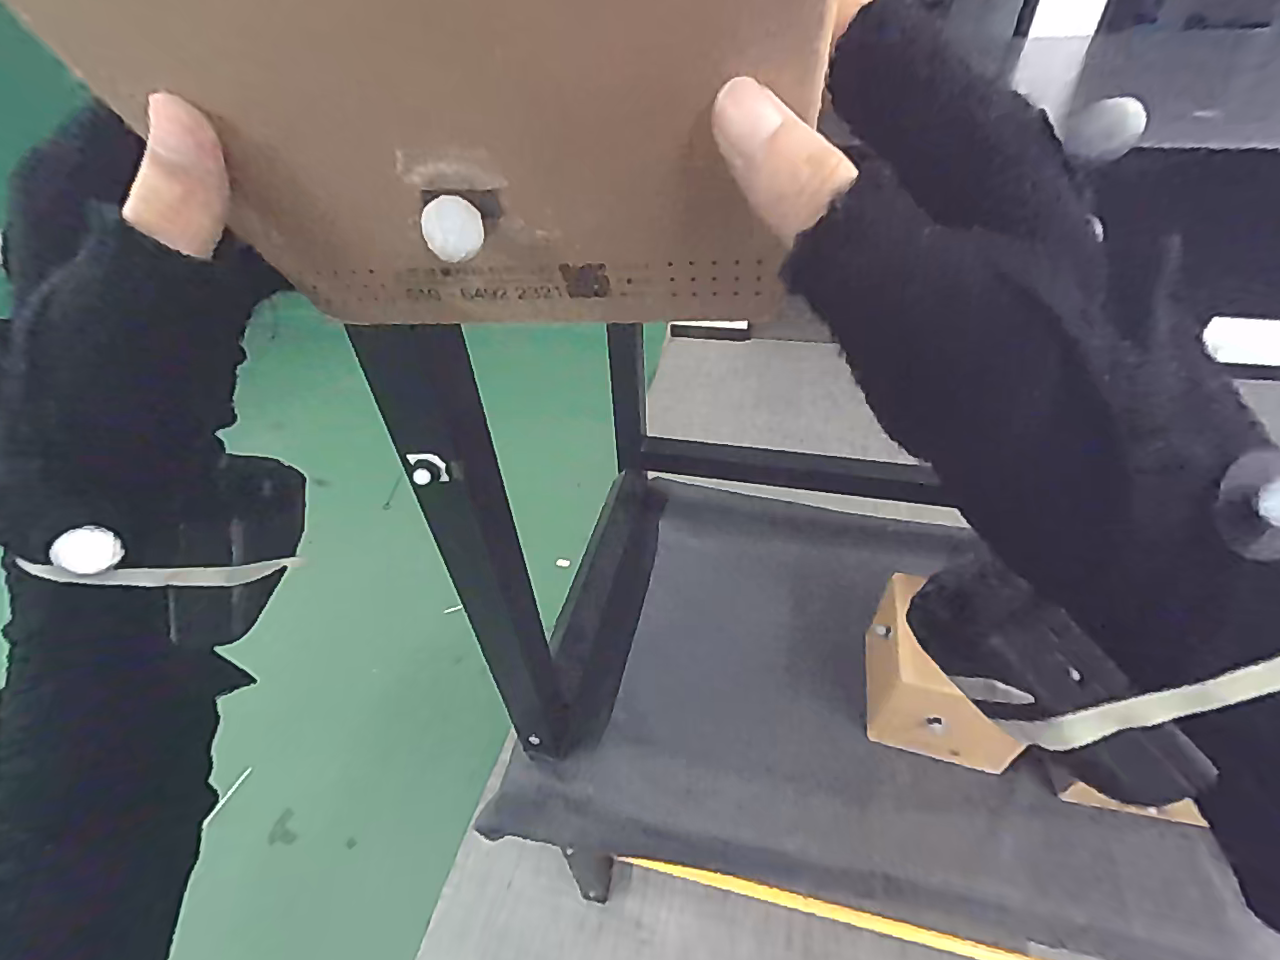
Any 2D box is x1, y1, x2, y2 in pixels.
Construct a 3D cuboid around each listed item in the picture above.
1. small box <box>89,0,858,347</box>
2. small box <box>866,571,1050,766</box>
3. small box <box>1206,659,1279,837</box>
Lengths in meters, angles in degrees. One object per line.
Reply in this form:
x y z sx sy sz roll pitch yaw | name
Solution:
-0.031 -0.160 0.149 0.168 0.176 0.179 3 69 9 | small box
0.416 0.258 0.742 0.168 0.176 0.179 10 43 14 | small box
0.843 0.333 0.627 0.168 0.176 0.179 6 42 10 | small box
